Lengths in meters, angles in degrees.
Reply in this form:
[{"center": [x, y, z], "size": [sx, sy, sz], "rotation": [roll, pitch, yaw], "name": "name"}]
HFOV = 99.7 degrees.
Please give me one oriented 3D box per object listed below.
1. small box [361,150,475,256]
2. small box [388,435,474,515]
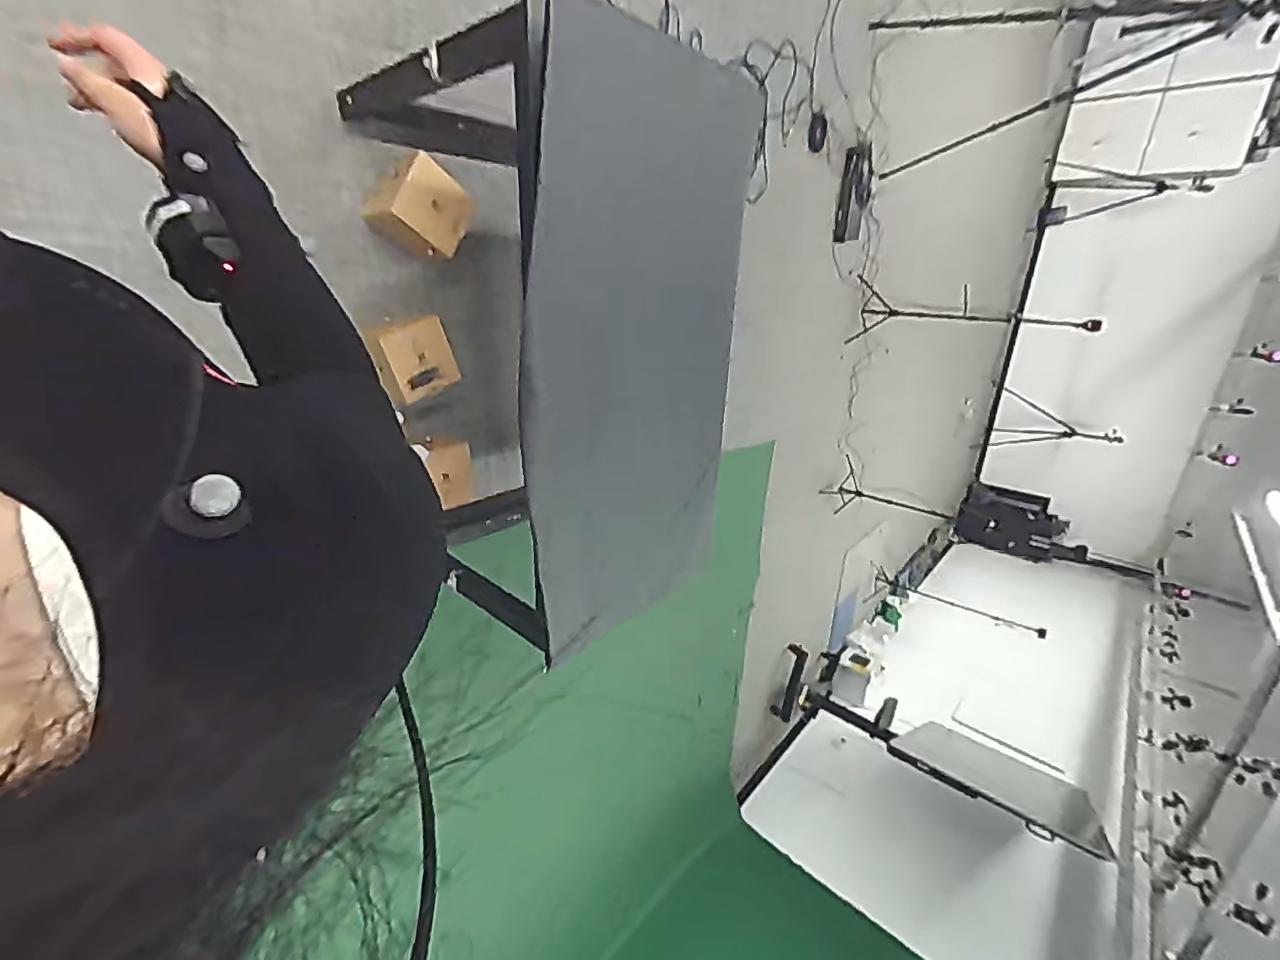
[{"center": [-0.555, -0.677, 1.346], "size": [0.179, 0.176, 0.168], "rotation": [30, 81, -52], "name": "small box"}, {"center": [-0.600, -0.023, 1.548], "size": [0.168, 0.176, 0.179], "rotation": [-21, 120, -44], "name": "small box"}]
